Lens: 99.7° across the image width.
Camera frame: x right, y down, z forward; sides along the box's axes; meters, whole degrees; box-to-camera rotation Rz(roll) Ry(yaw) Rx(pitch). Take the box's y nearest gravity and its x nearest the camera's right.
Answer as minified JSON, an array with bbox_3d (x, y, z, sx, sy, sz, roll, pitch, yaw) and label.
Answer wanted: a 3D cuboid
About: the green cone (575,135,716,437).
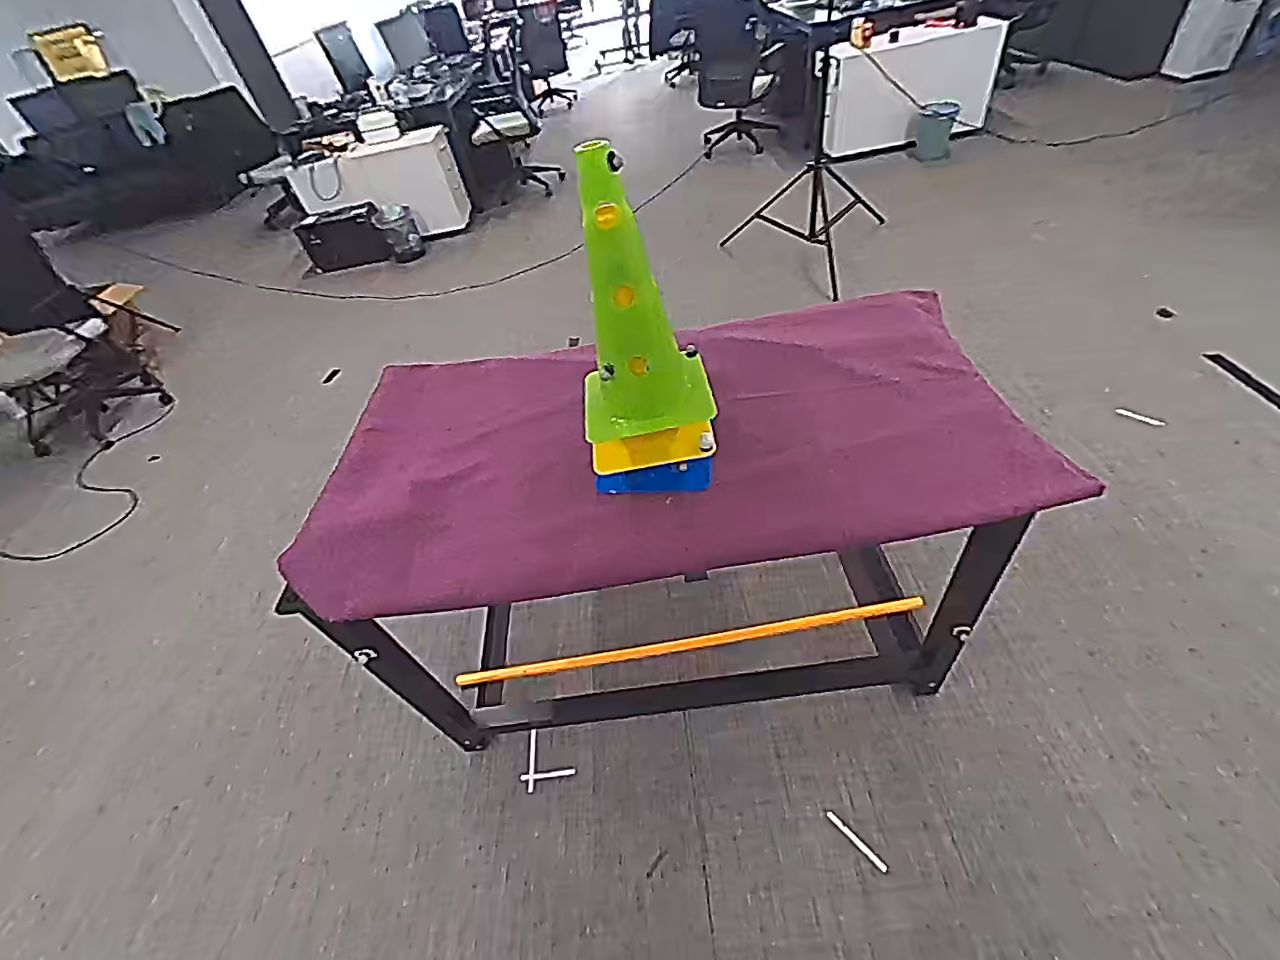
[{"bbox_3d":[-0.025,-0.266,0.748,0.200,0.368,0.202,-12,44,4],"label":"green cone"}]
